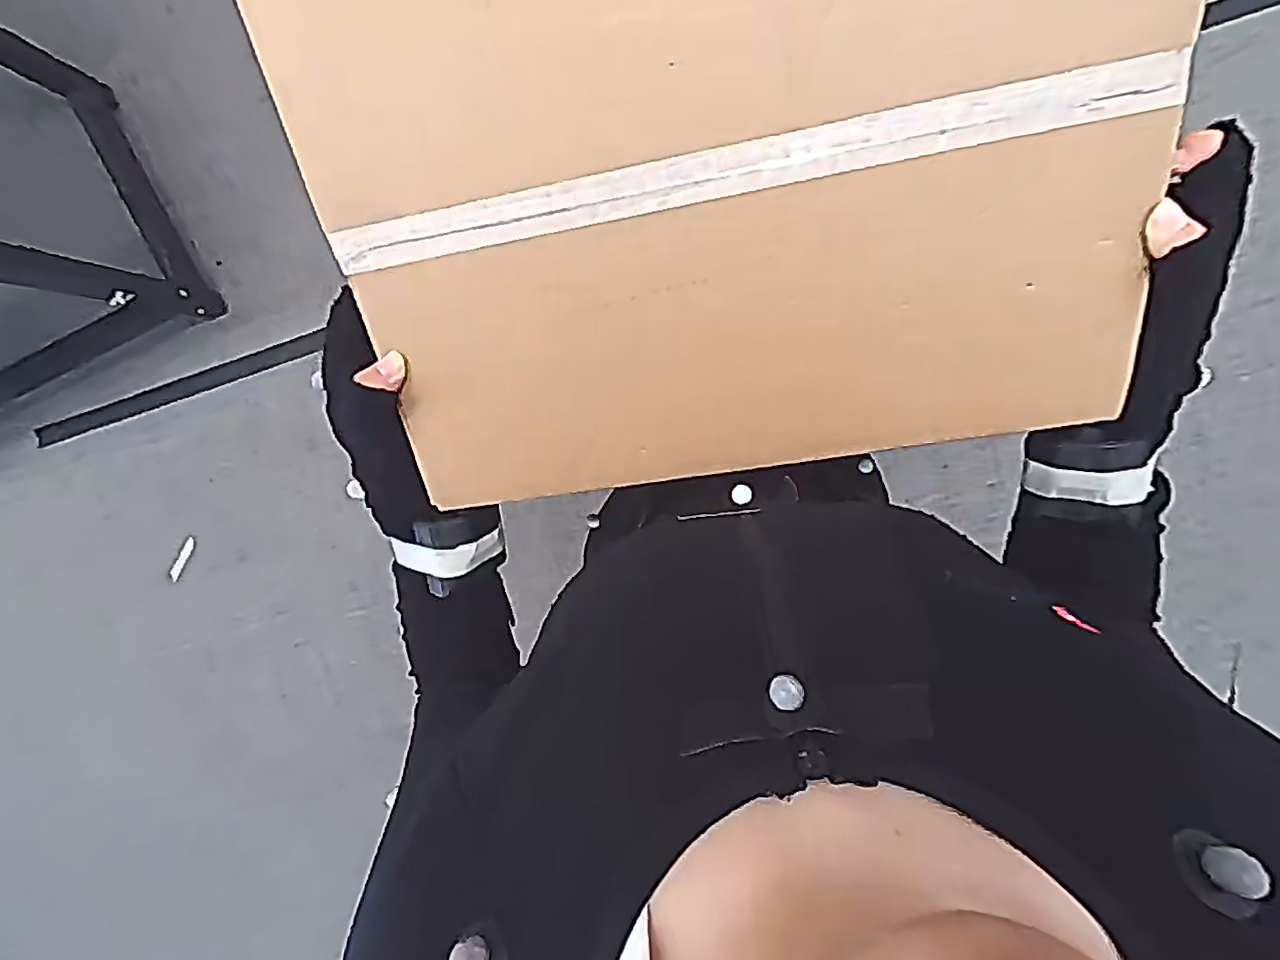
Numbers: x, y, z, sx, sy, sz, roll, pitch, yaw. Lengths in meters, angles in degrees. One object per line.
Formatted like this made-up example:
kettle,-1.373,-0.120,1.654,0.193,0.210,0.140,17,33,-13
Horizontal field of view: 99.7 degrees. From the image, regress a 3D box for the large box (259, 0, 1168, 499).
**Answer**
large box,0.044,-0.214,0.406,0.408,0.320,0.320,-8,115,7
